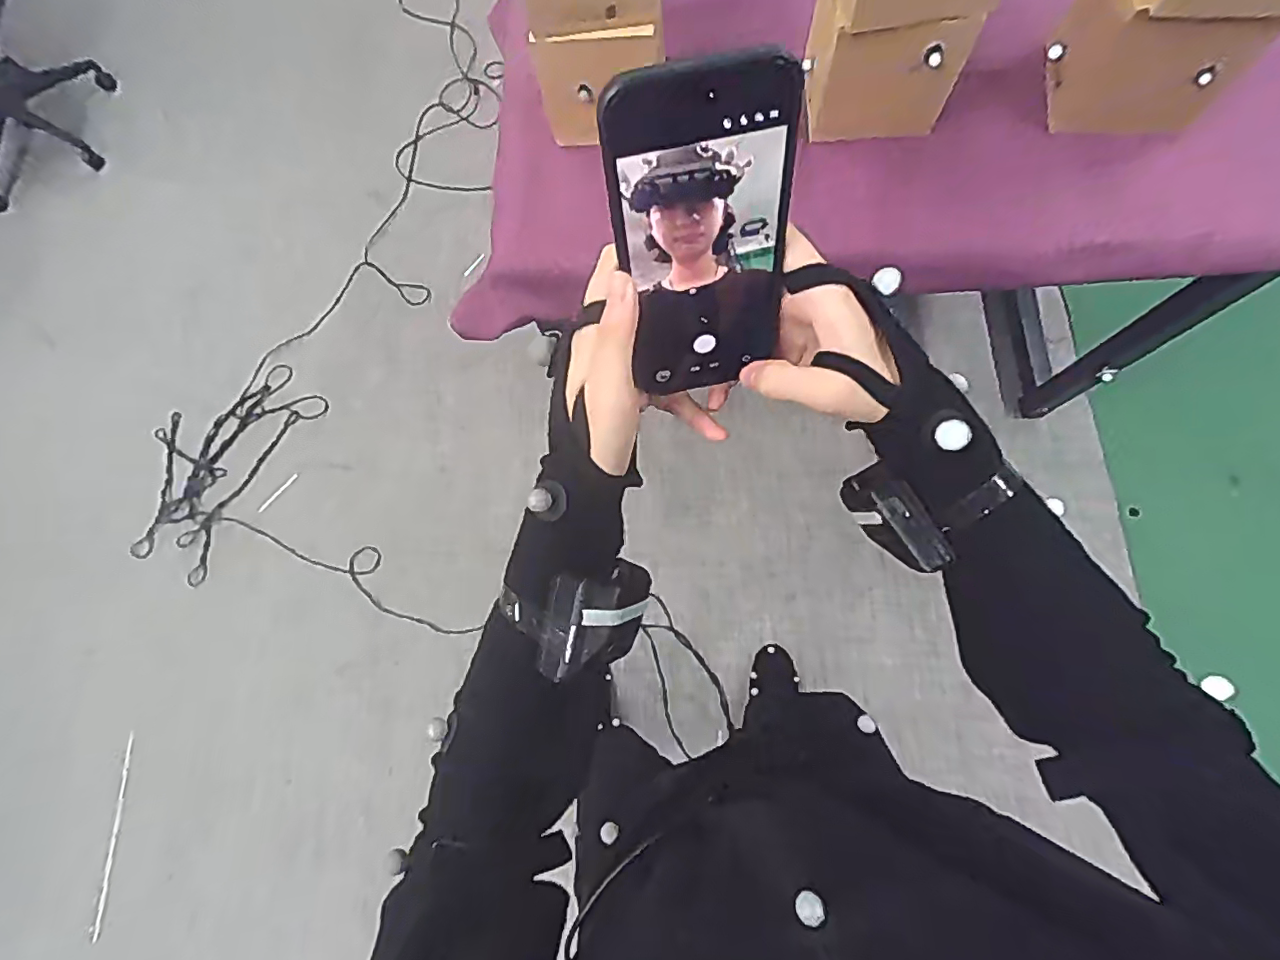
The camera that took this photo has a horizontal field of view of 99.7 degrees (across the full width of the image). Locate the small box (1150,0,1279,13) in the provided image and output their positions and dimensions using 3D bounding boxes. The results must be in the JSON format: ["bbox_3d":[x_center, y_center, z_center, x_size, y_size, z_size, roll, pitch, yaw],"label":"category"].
[{"bbox_3d":[0.666,-0.620,0.548,0.179,0.176,0.168,6,76,7],"label":"small box"}]

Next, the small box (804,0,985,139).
[{"bbox_3d":[0.336,-0.607,0.747,0.179,0.176,0.168,0,75,6],"label":"small box"}]

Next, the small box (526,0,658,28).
[{"bbox_3d":[-0.068,-0.677,0.637,0.168,0.176,0.179,-4,76,4],"label":"small box"}]

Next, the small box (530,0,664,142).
[{"bbox_3d":[-0.052,-0.628,0.793,0.168,0.176,0.179,1,75,6],"label":"small box"}]

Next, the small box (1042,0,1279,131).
[{"bbox_3d":[0.674,-0.593,0.710,0.179,0.176,0.168,6,76,8],"label":"small box"}]
